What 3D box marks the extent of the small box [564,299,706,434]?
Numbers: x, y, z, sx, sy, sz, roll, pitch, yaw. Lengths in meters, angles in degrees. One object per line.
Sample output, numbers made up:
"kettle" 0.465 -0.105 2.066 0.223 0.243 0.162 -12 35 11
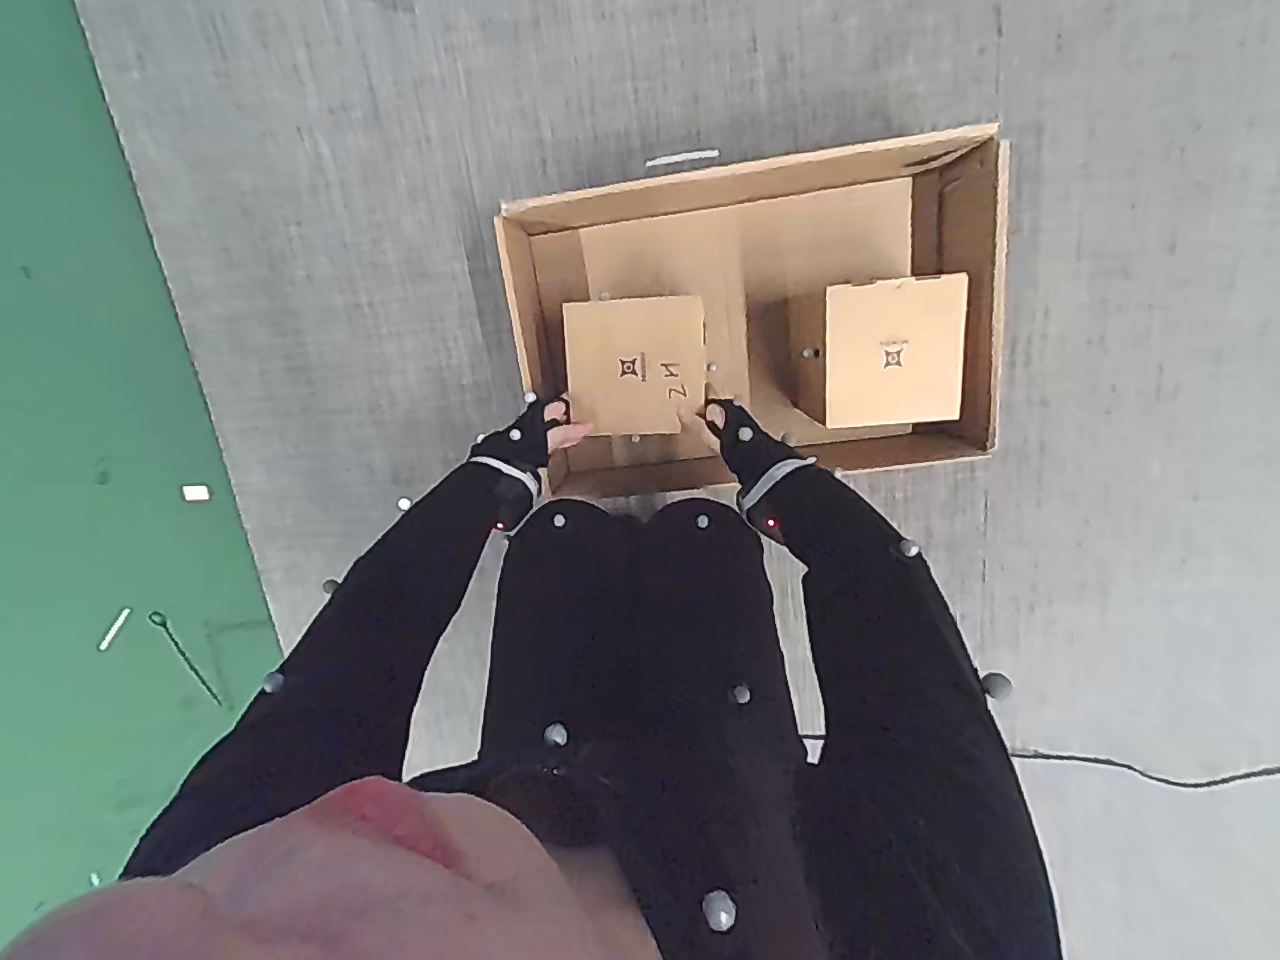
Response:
"small box" 0.002 -0.153 0.750 0.179 0.176 0.168 0 101 6
